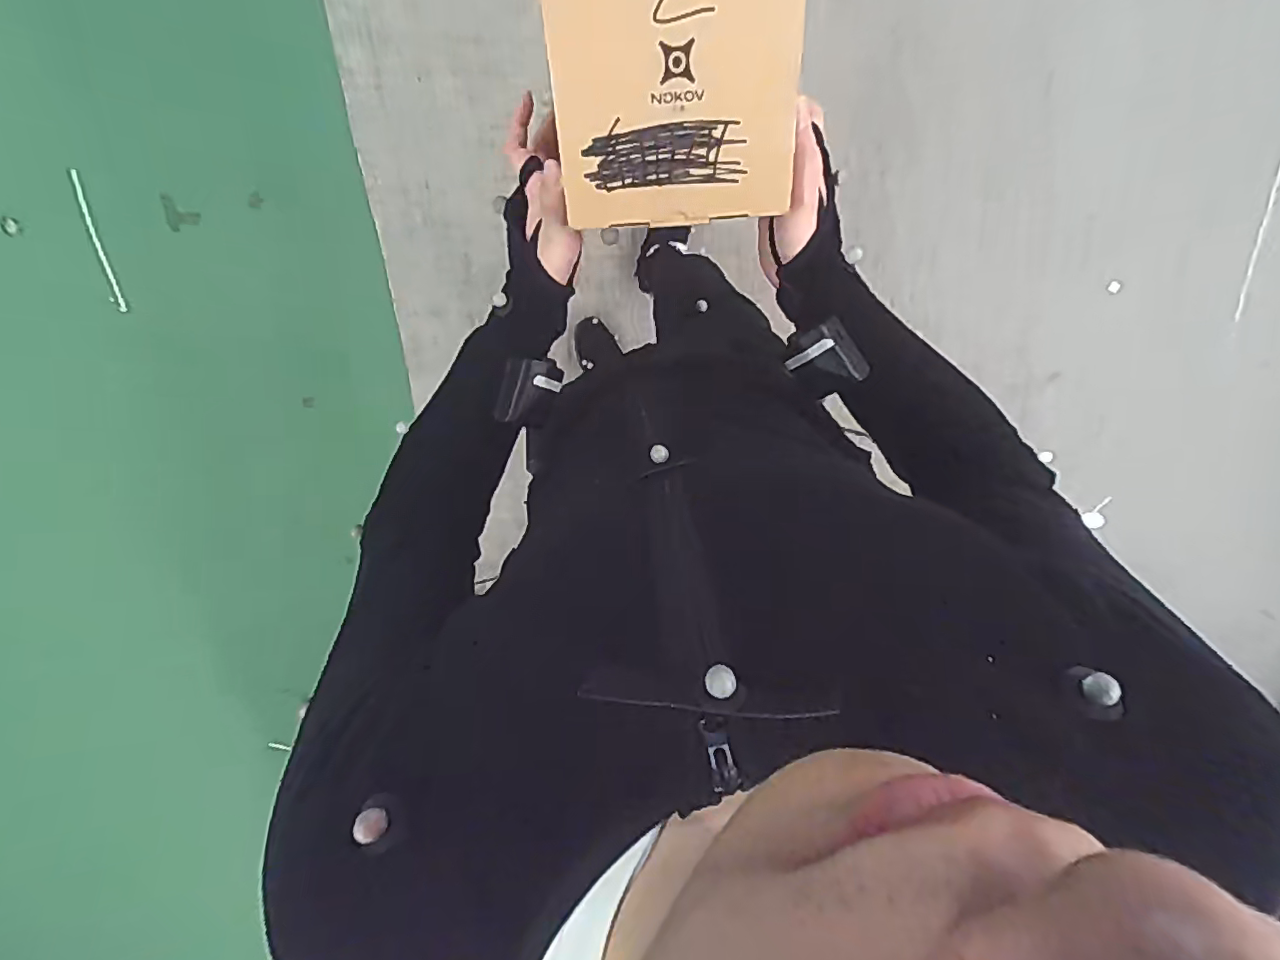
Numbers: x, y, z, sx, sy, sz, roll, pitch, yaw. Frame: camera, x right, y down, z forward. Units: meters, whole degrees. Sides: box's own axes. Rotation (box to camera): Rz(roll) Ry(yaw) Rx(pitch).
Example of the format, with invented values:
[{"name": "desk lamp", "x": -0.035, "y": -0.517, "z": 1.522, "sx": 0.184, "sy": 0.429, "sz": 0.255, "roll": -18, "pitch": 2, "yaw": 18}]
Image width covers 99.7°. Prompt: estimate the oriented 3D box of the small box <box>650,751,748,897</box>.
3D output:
[{"name": "small box", "x": 0.110, "y": 0.668, "z": 1.062, "sx": 0.168, "sy": 0.176, "sz": 0.179, "roll": -5, "pitch": 111, "yaw": -3}]
